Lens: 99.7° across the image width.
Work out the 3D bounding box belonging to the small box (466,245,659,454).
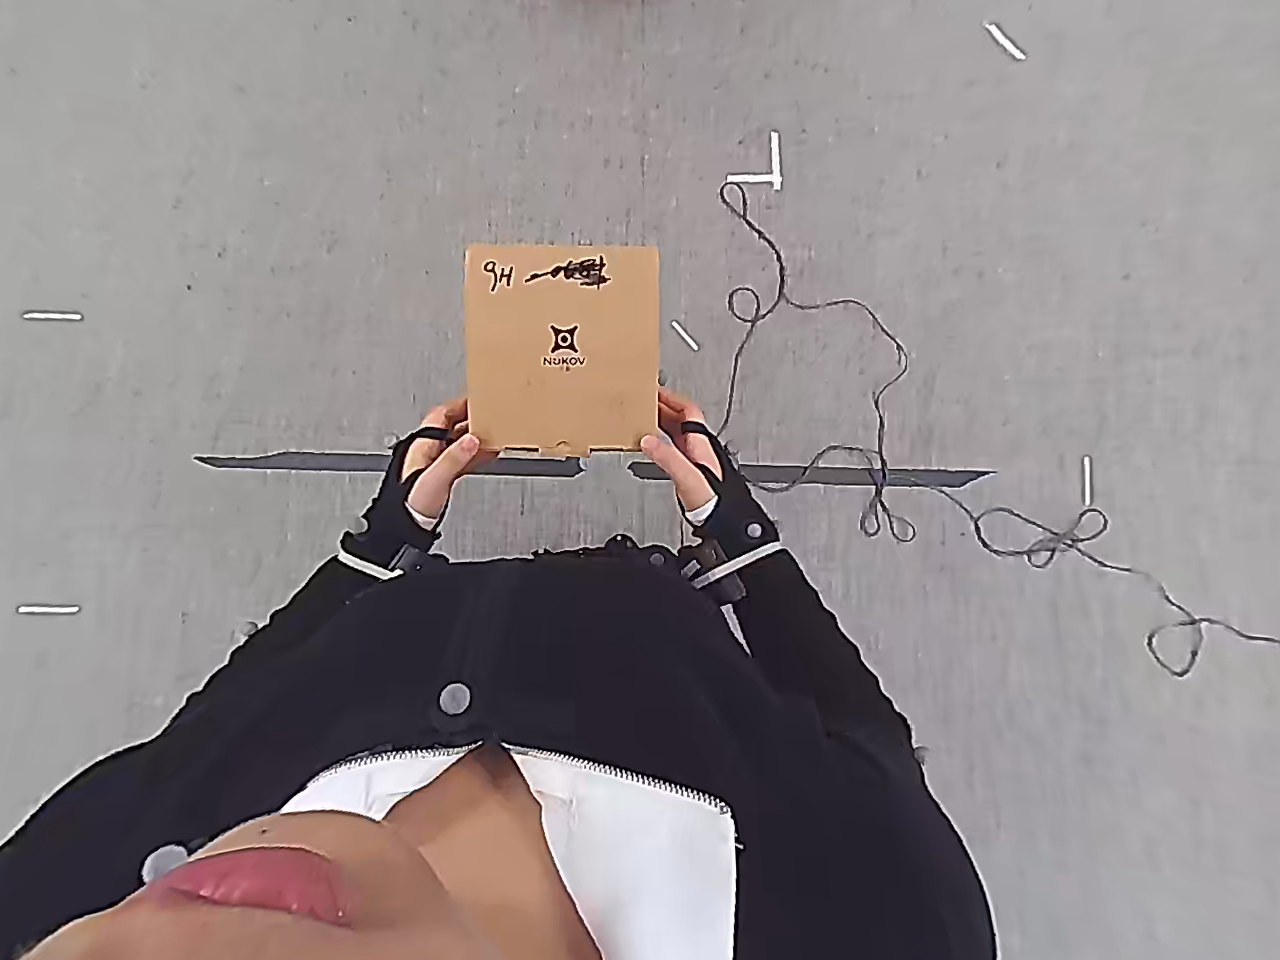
[{"bbox_3d":[-0.067,-0.118,0.542,0.168,0.176,0.179,0,95,-1],"label":"small box"}]
